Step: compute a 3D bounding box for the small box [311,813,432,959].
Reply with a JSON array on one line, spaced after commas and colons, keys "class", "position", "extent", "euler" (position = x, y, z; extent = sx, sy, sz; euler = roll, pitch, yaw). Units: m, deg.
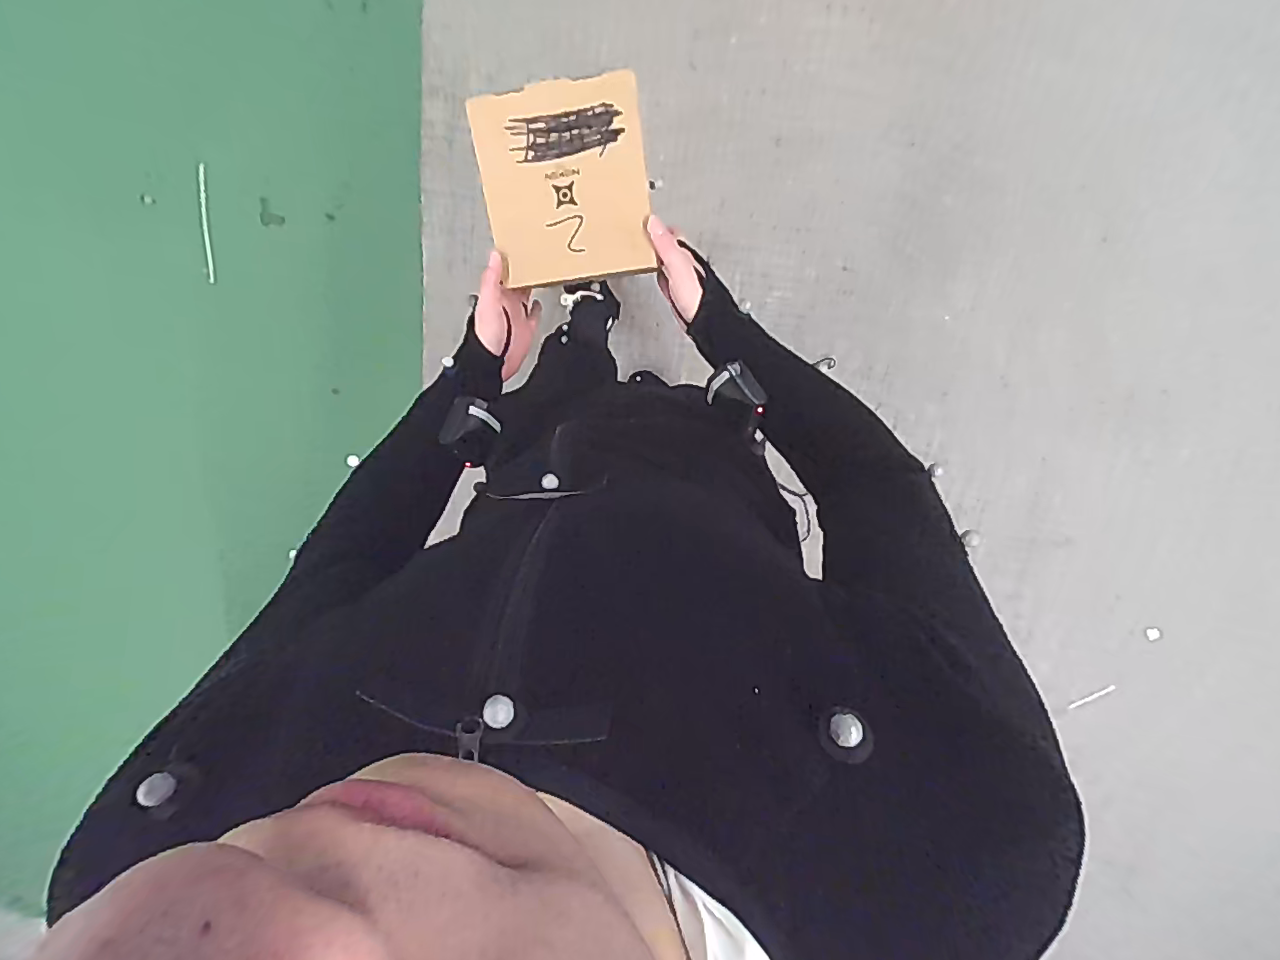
[{"class": "small box", "position": [-0.549, 0.840, 1.124], "extent": [0.168, 0.176, 0.179], "euler": [10, 109, 2]}]
